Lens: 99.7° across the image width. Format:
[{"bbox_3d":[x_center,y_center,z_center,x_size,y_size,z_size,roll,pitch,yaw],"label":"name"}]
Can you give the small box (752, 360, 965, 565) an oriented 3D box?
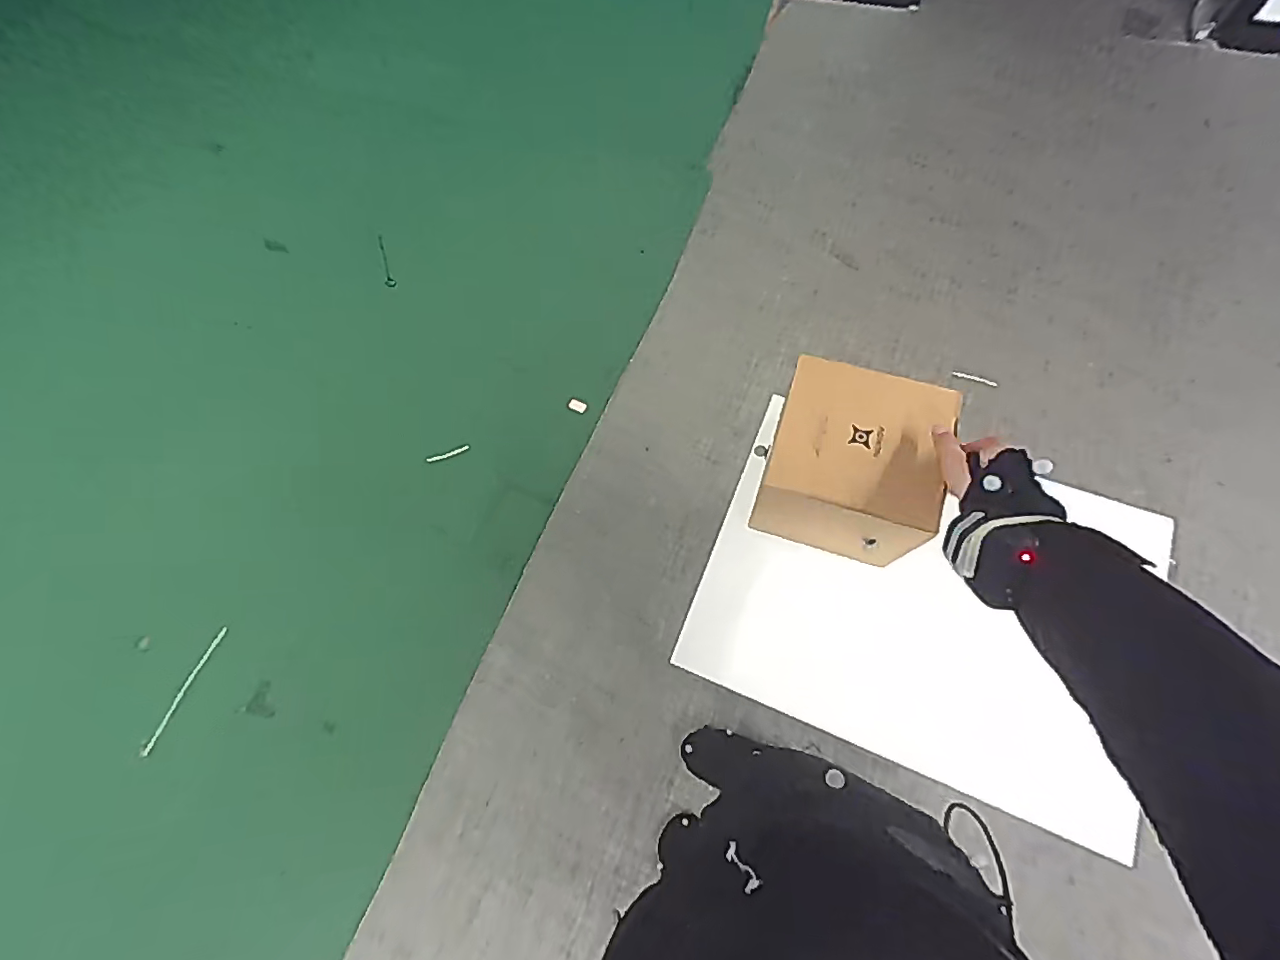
[{"bbox_3d":[0.242,-0.010,0.635,0.179,0.176,0.168,16,70,12],"label":"small box"}]
